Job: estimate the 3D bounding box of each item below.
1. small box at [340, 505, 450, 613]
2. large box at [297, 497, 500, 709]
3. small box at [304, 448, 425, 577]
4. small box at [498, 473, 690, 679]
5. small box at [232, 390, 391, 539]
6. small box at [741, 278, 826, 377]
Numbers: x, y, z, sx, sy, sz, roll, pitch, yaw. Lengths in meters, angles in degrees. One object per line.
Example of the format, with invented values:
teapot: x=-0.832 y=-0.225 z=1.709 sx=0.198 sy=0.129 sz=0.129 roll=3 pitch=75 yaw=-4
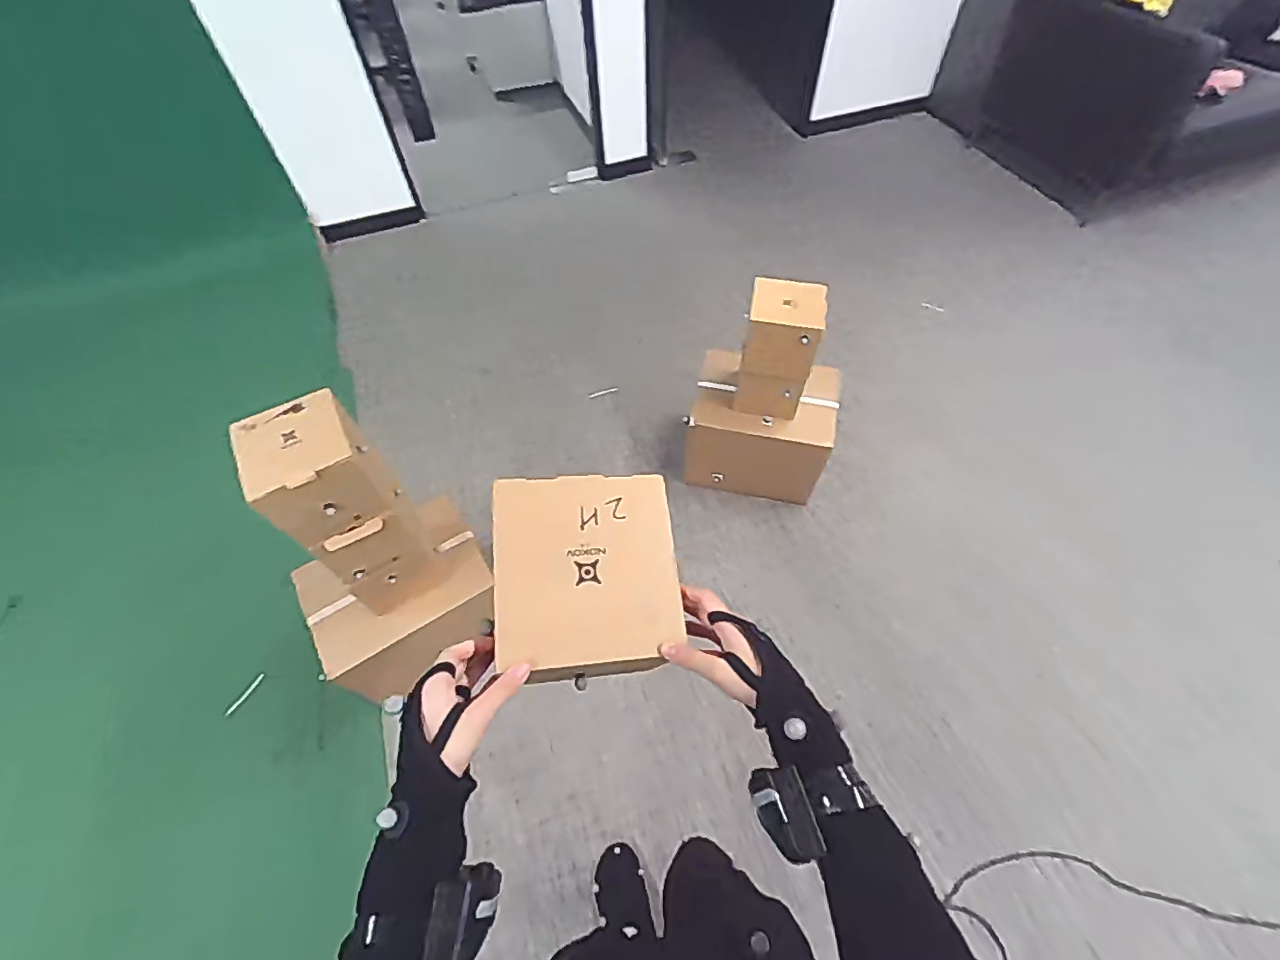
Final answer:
small box: x=-0.558 y=0.172 z=1.216 sx=0.179 sy=0.176 sz=0.168 roll=-27 pitch=61 yaw=-16
large box: x=-0.573 y=0.322 z=1.411 sx=0.408 sy=0.320 sz=0.320 roll=-31 pitch=59 yaw=-16
small box: x=-0.556 y=0.074 z=1.085 sx=0.168 sy=0.176 sz=0.179 roll=-25 pitch=60 yaw=-14
small box: x=-0.057 y=0.106 z=0.559 sx=0.168 sy=0.176 sz=0.179 roll=-1 pitch=65 yaw=-13
small box: x=-0.566 y=-0.018 z=0.949 sx=0.168 sy=0.176 sz=0.179 roll=-26 pitch=61 yaw=-16
small box: x=0.355 y=-0.379 z=1.356 sx=0.179 sy=0.176 sz=0.168 roll=10 pitch=57 yaw=7
